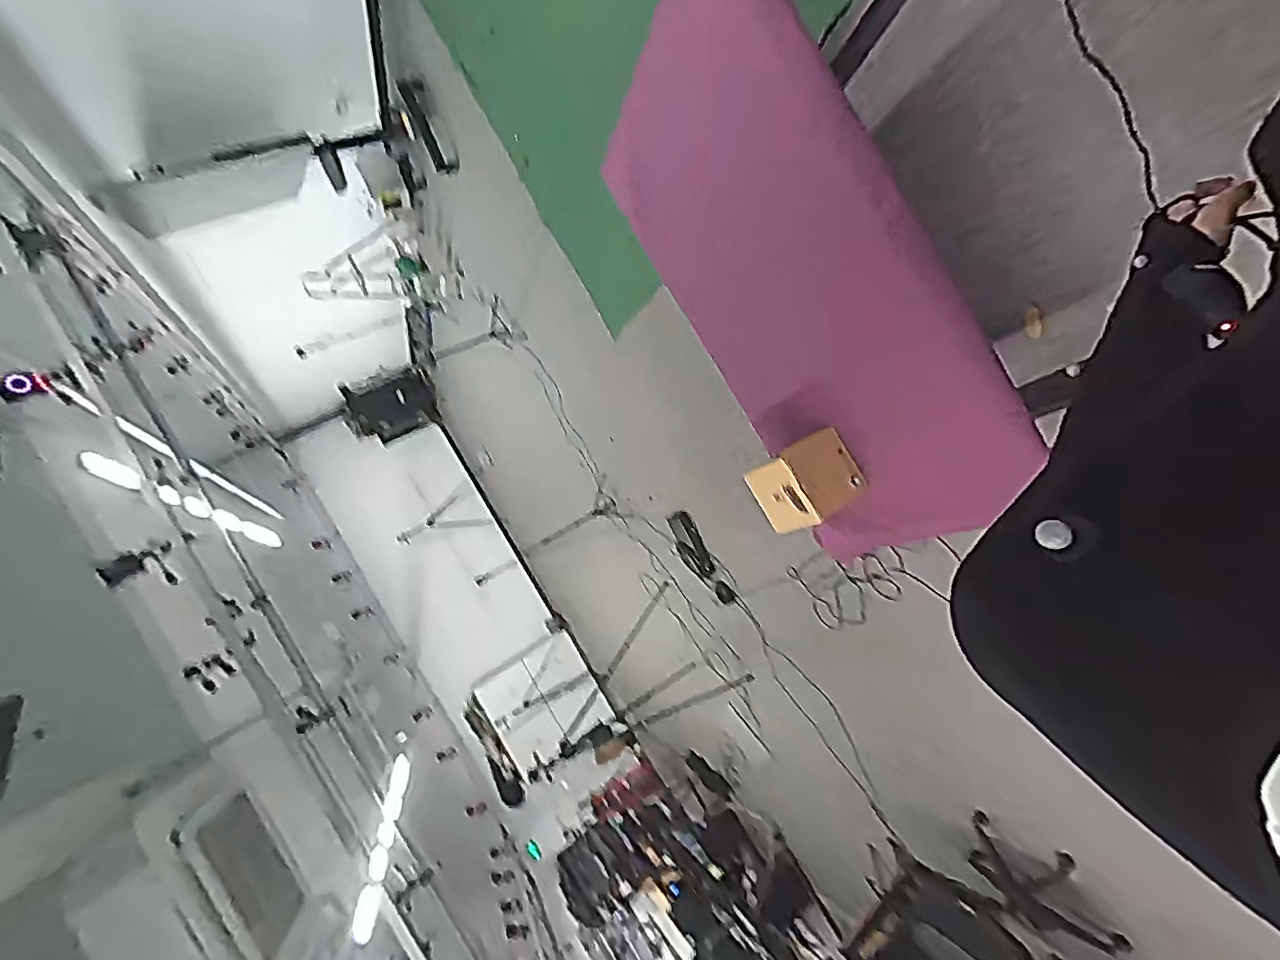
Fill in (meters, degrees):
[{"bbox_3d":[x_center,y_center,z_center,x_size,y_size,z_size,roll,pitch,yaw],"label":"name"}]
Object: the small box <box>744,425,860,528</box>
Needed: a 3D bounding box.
[{"bbox_3d":[0.388,-0.009,1.278,0.168,0.176,0.179,59,157,2],"label":"small box"}]
